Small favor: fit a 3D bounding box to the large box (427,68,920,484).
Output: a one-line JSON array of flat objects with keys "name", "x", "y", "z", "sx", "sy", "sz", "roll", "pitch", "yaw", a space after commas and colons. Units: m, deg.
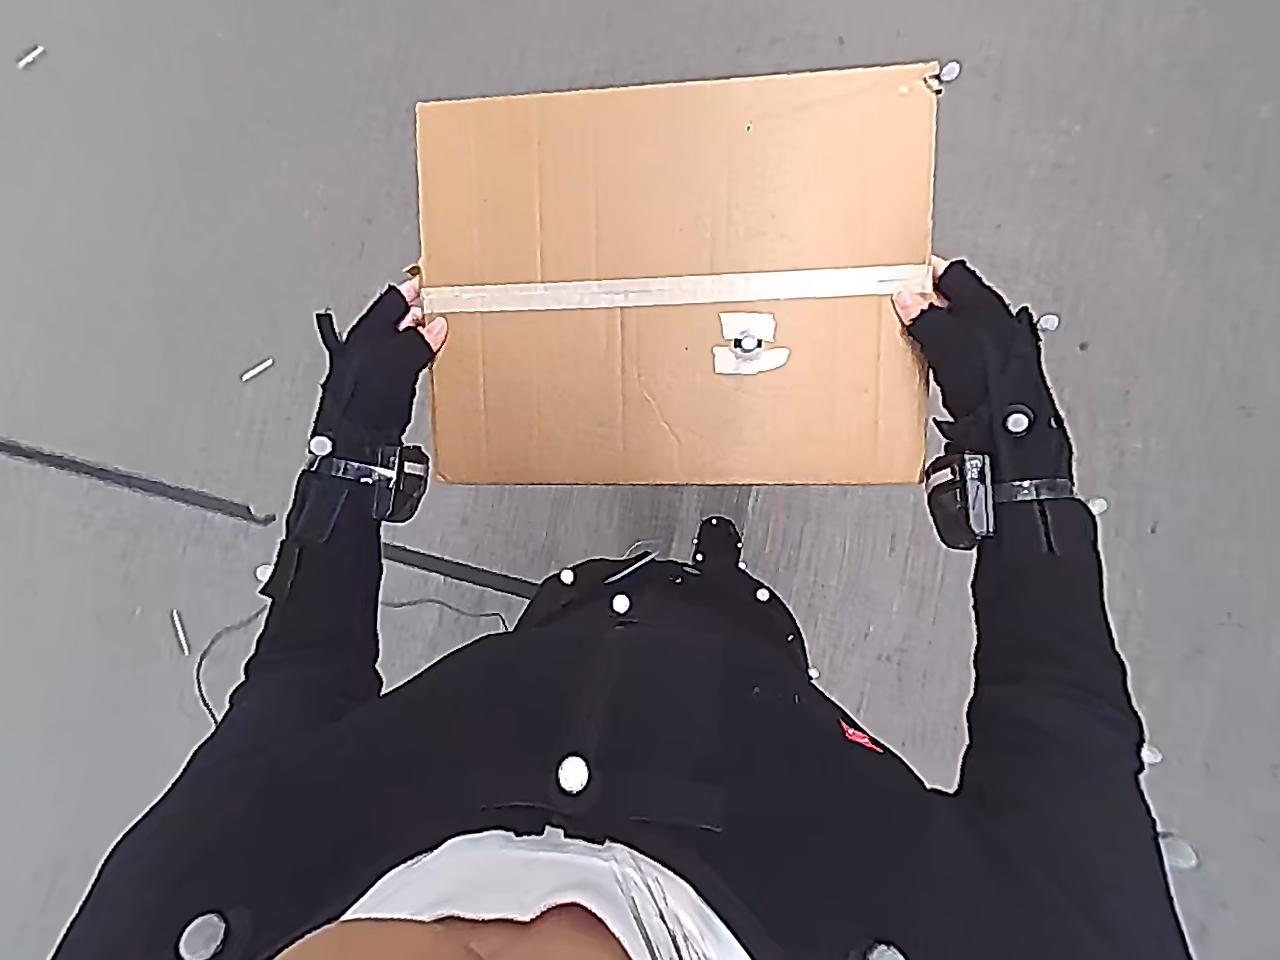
[{"name": "large box", "x": 0.036, "y": -0.170, "z": 0.594, "sx": 0.408, "sy": 0.320, "sz": 0.320, "roll": -2, "pitch": 96, "yaw": 6}]
